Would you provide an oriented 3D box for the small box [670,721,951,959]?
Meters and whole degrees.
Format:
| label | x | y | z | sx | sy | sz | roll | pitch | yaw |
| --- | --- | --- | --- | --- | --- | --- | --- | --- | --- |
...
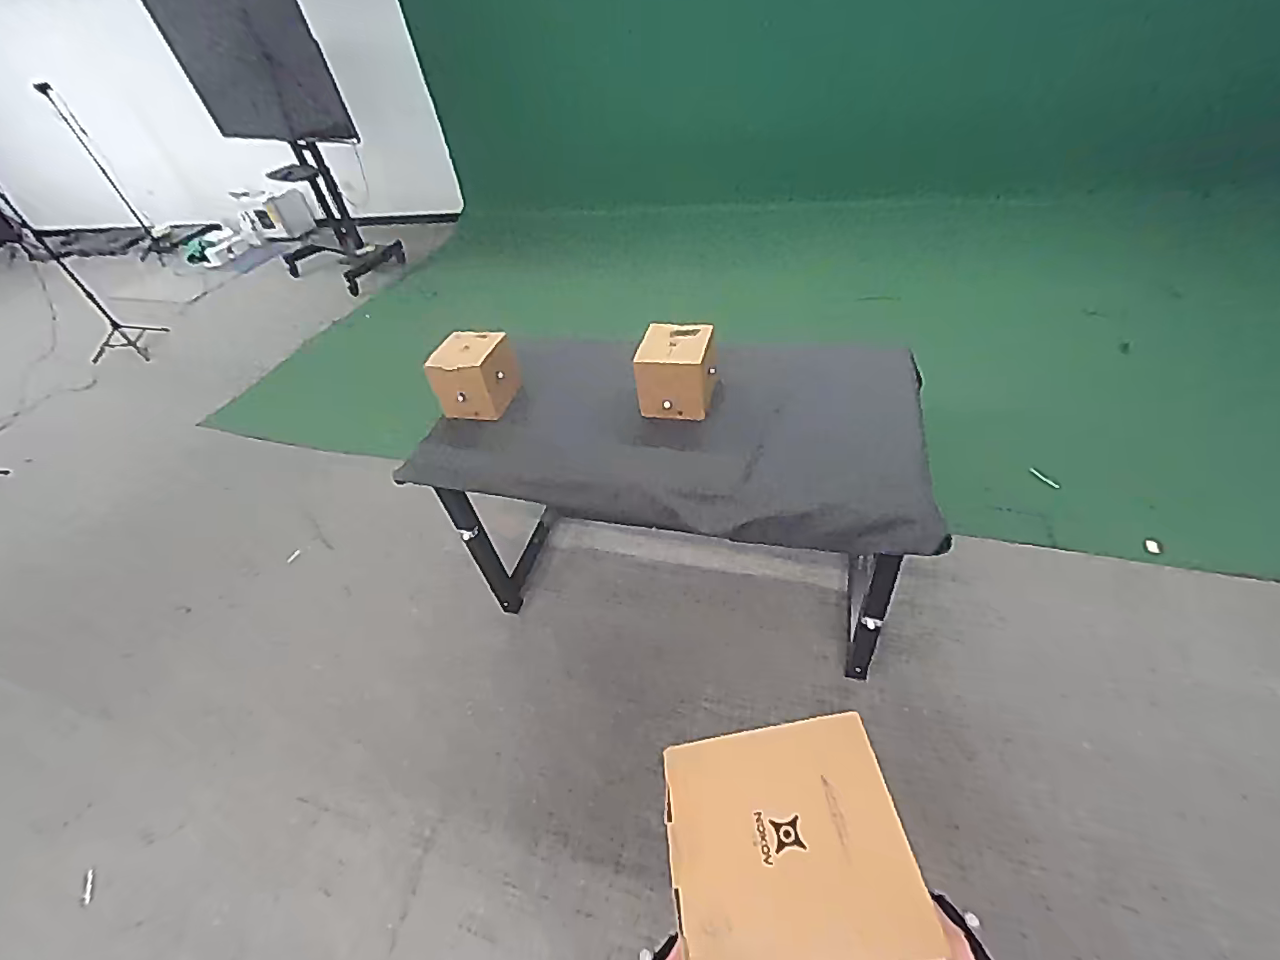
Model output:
| label | x | y | z | sx | sy | sz | roll | pitch | yaw |
| --- | --- | --- | --- | --- | --- | --- | --- | --- | --- |
| small box | 0.136 | 0.341 | 0.469 | 0.179 | 0.176 | 0.168 | -14 | 39 | 6 |

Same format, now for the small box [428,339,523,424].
| label | x | y | z | sx | sy | sz | roll | pitch | yaw |
| --- | --- | --- | --- | --- | --- | --- | --- | --- | --- |
| small box | -0.441 | -0.269 | 1.485 | 0.168 | 0.176 | 0.179 | 5 | 46 | 14 |

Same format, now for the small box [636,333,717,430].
| label | x | y | z | sx | sy | sz | roll | pitch | yaw |
| --- | --- | --- | --- | --- | --- | --- | --- | --- | --- |
| small box | 0.099 | -0.252 | 1.373 | 0.168 | 0.176 | 0.179 | 6 | 47 | 16 |
